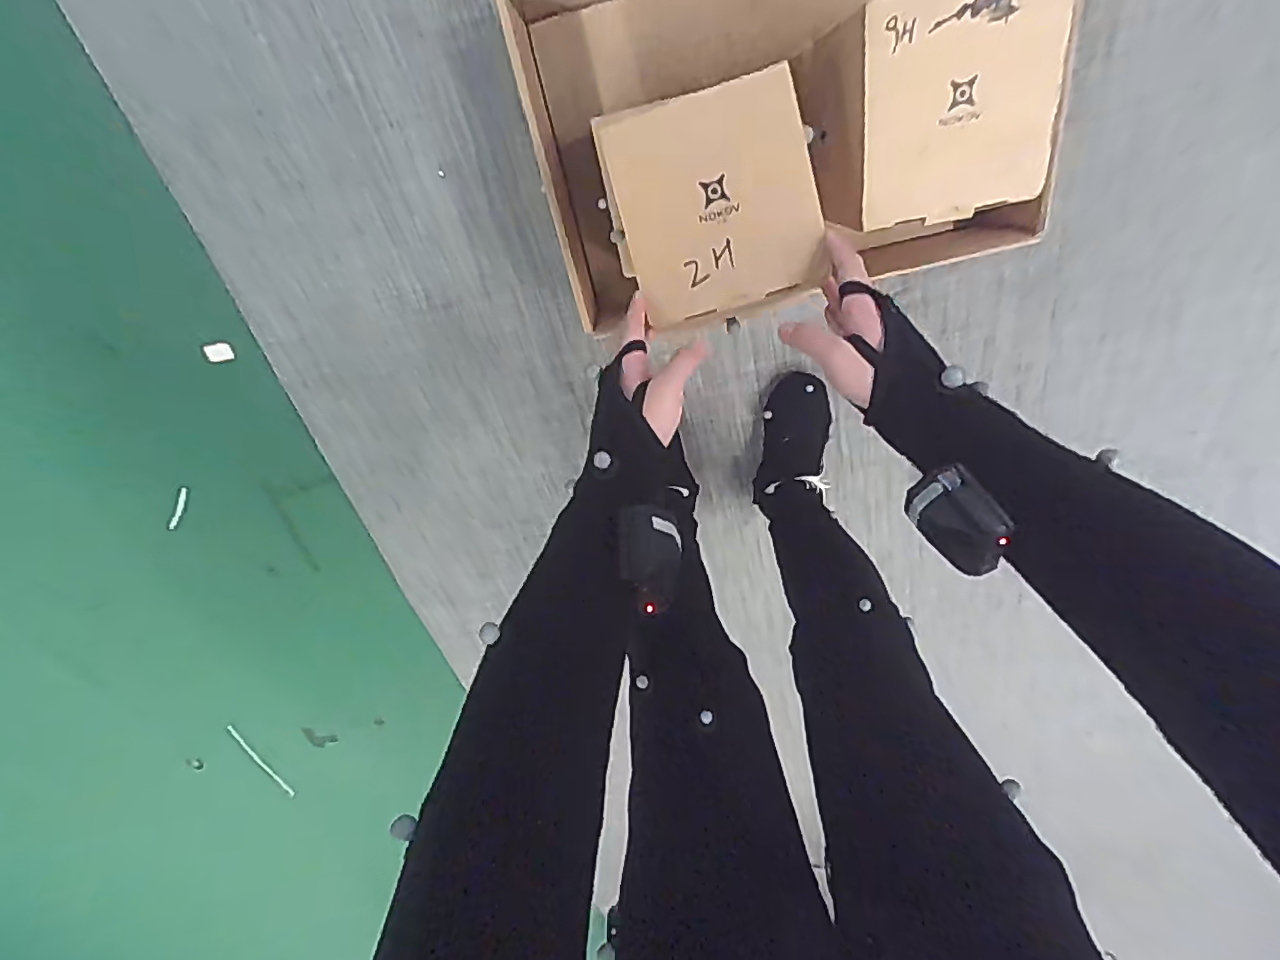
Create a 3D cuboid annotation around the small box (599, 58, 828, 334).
[{"bbox_3d":[0.070,-0.257,0.538,0.168,0.176,0.179,-14,100,9],"label":"small box"}]
